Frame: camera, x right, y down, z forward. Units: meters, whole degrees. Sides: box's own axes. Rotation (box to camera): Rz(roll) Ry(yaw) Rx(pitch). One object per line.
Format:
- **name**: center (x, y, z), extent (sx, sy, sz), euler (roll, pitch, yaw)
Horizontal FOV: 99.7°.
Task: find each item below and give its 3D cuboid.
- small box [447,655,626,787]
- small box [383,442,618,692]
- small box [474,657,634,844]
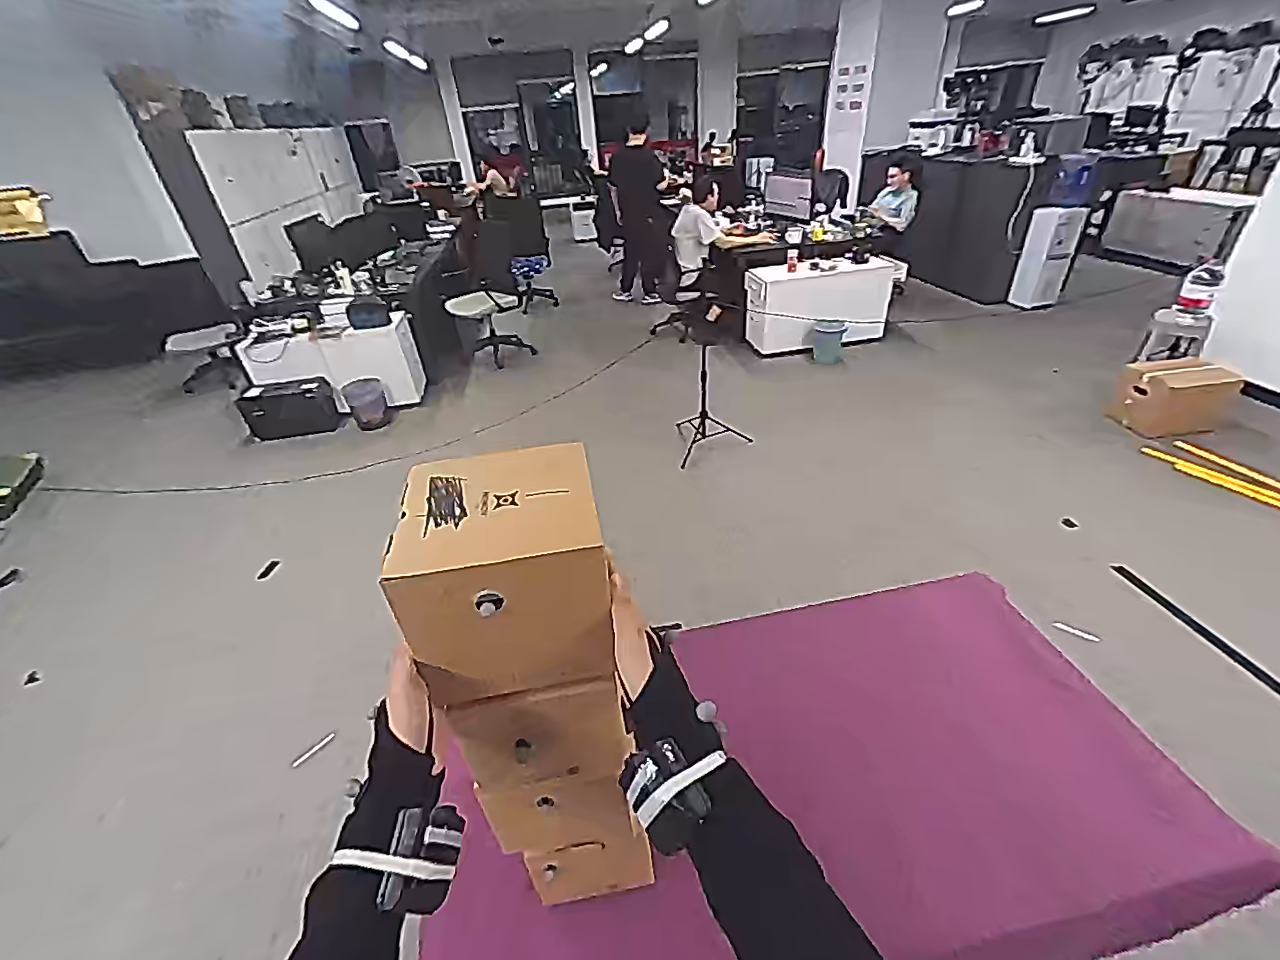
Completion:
- **small box**: center (-0.112, 0.232, 0.636), extent (0.168, 0.176, 0.179), euler (-8, 33, -5)
- **small box**: center (-0.123, 0.084, 0.534), extent (0.179, 0.176, 0.168), euler (-8, 36, -7)
- **small box**: center (-0.103, 0.365, 0.730), extent (0.179, 0.176, 0.168), euler (-4, 34, 0)
